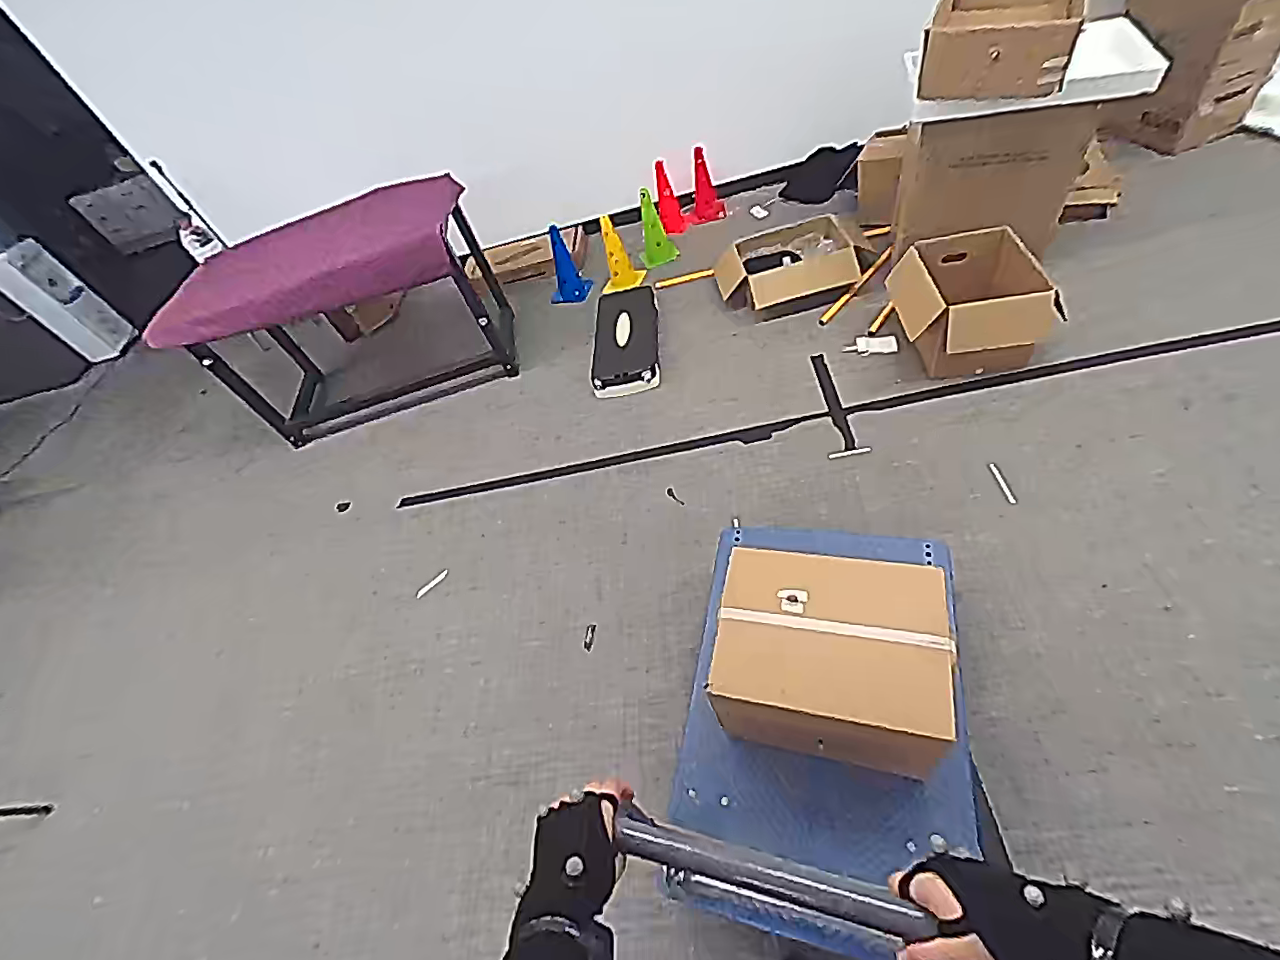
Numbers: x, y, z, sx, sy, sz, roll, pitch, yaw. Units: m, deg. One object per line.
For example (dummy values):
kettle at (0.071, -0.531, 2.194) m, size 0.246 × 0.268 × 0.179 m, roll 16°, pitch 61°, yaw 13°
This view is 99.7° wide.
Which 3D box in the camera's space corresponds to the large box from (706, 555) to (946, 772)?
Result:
large box at (0.384, 0.381, 1.135) m, size 0.408 × 0.320 × 0.320 m, roll 3°, pitch 52°, yaw 21°
